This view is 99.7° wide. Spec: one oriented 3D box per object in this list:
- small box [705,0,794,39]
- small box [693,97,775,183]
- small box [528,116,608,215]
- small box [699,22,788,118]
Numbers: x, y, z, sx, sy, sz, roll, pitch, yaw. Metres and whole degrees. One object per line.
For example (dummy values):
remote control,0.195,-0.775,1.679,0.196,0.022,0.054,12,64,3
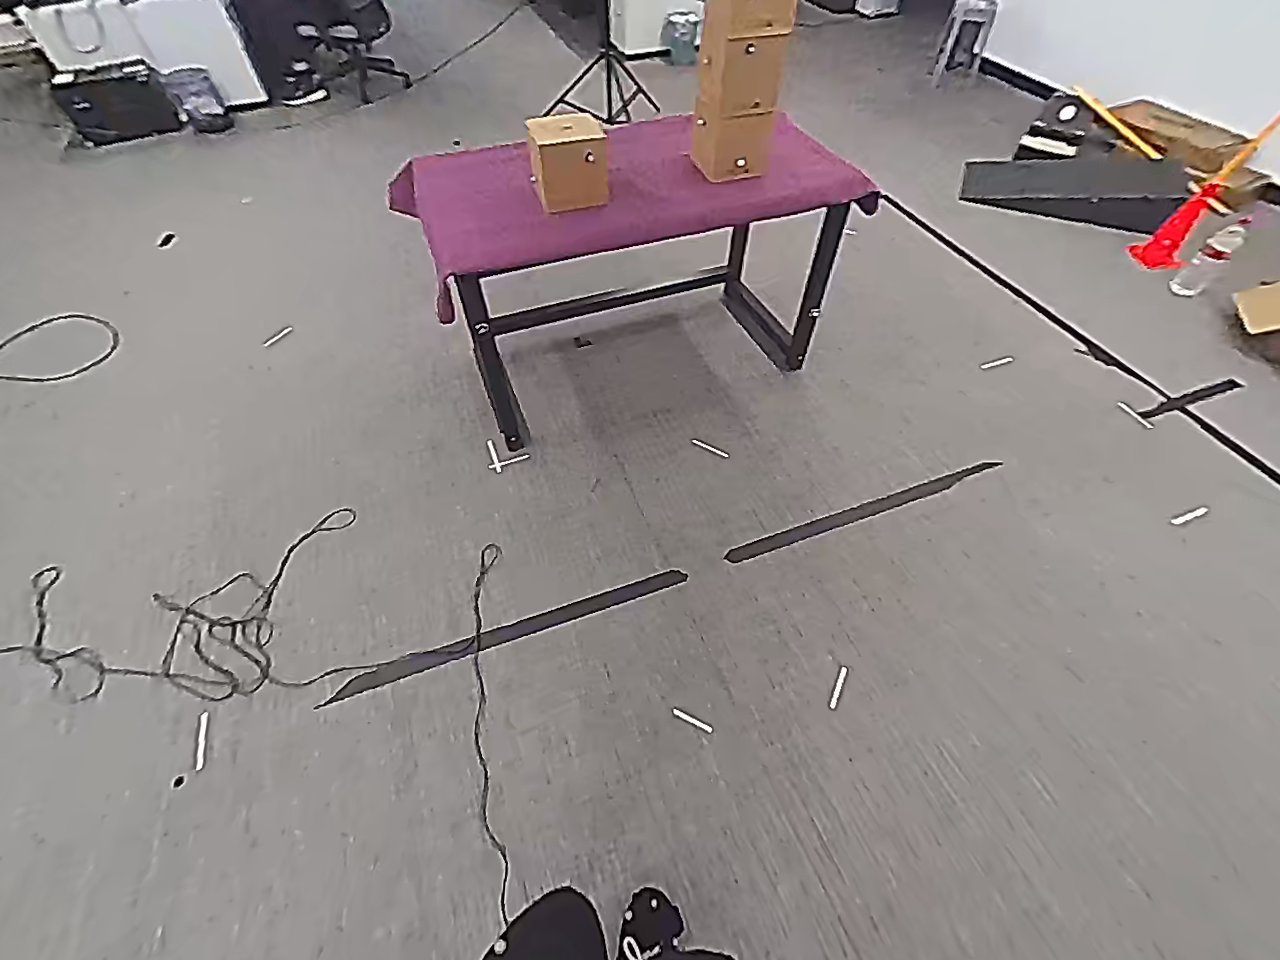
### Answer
small box,0.259,-1.162,1.270,0.168,0.176,0.179,-14,54,-9
small box,0.257,-0.974,1.538,0.168,0.176,0.179,-16,55,-10
small box,-0.187,-0.833,1.435,0.179,0.176,0.168,-15,54,-10
small box,0.258,-1.069,1.405,0.168,0.176,0.179,-14,53,-9
